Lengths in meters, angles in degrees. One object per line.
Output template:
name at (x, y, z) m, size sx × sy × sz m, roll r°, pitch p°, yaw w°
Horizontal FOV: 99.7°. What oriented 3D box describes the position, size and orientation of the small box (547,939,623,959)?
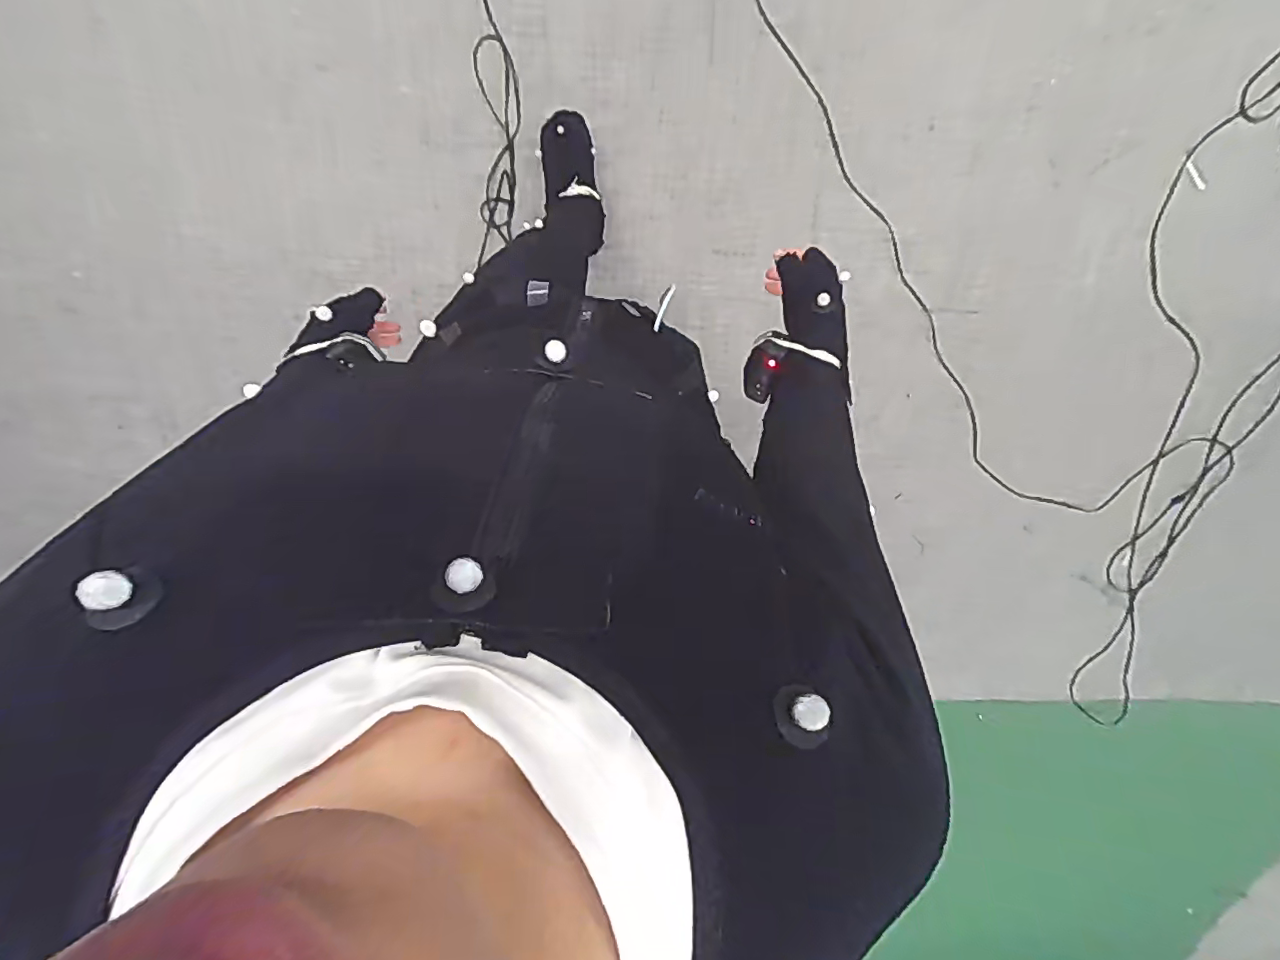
small box at (-0.116, 1.140, 1.168) m, size 0.168 × 0.176 × 0.179 m, roll -5°, pitch 114°, yaw 0°
